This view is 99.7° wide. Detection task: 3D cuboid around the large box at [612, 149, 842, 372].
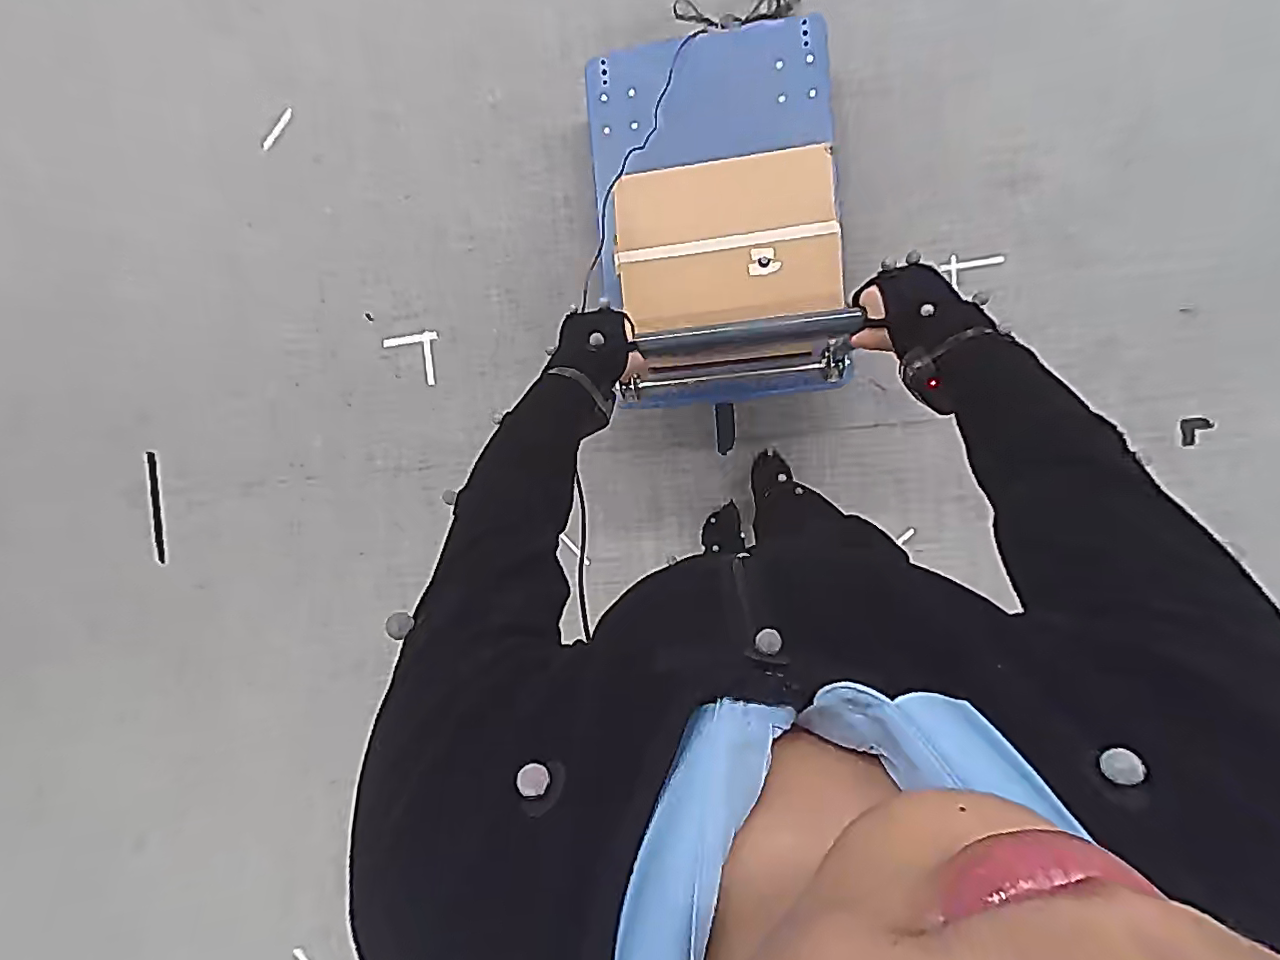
[{"bbox_3d":[0.174,-0.430,1.148,0.408,0.320,0.320,-5,91,7],"label":"large box"}]
